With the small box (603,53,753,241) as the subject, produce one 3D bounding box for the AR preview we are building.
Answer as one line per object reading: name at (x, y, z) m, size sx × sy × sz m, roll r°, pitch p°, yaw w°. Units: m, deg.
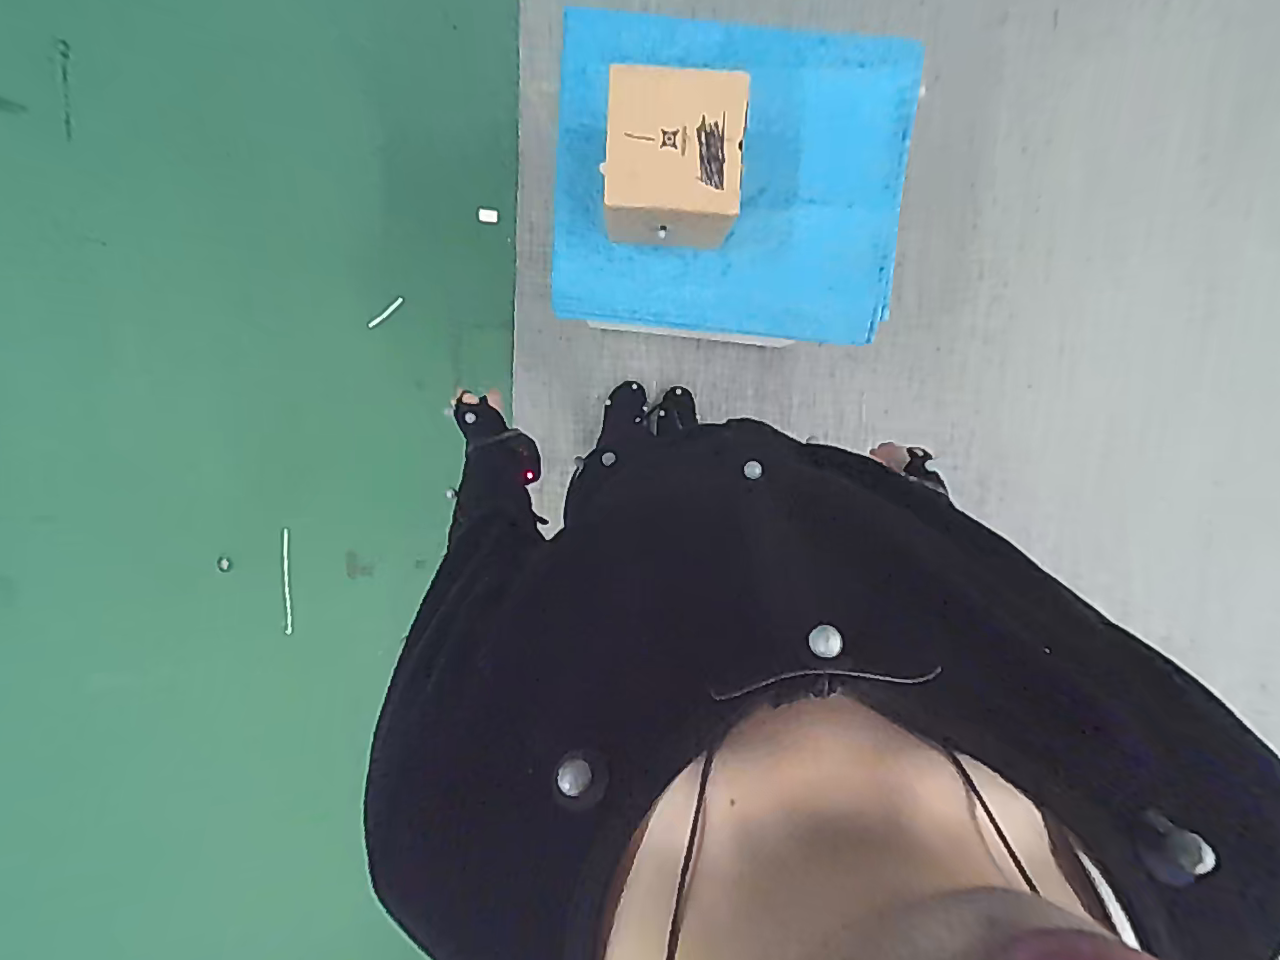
small box at (0.044, -0.439, 0.741) m, size 0.179 × 0.176 × 0.168 m, roll 4°, pitch 99°, yaw -1°
